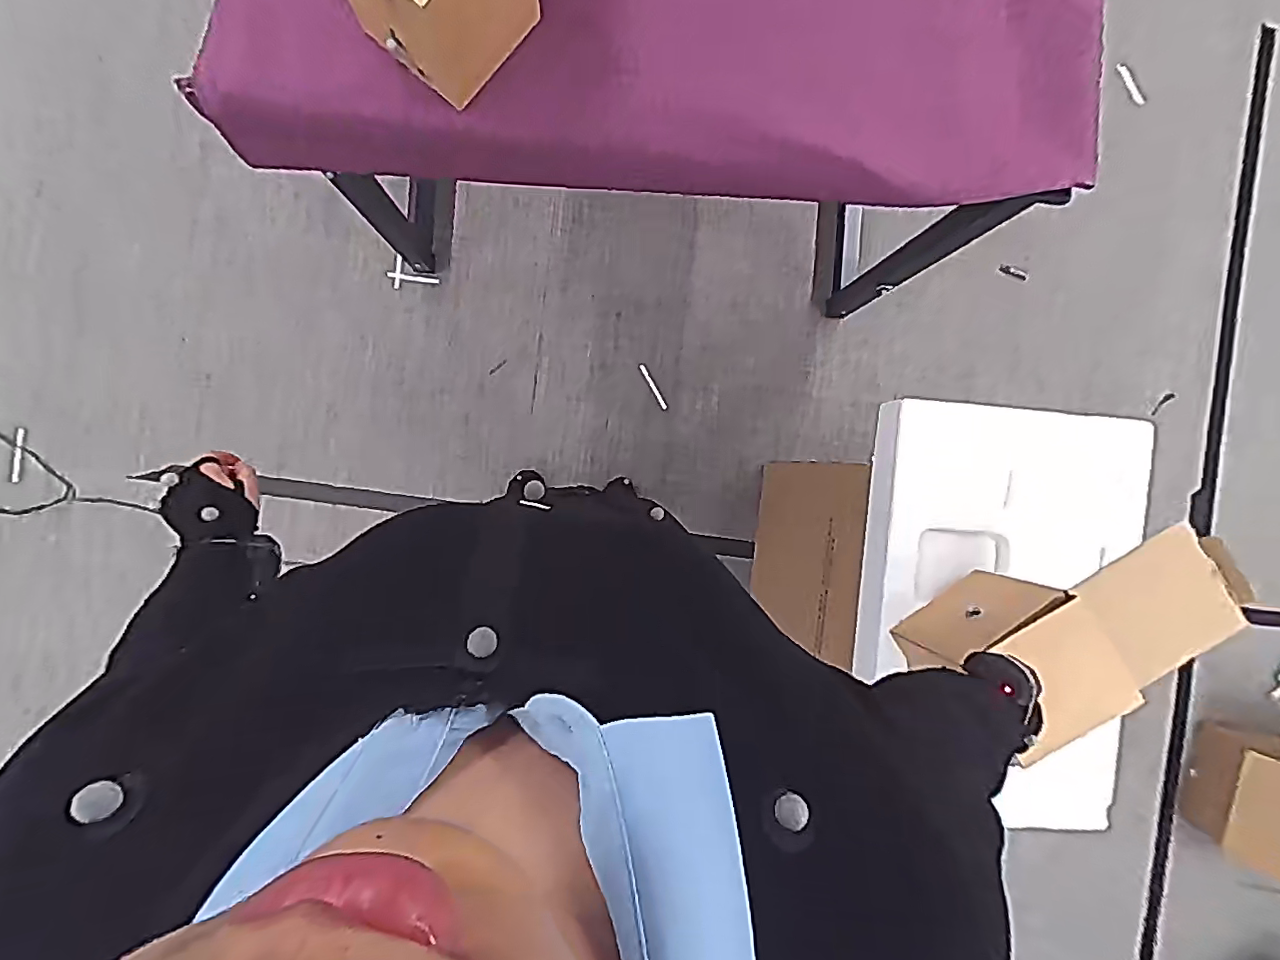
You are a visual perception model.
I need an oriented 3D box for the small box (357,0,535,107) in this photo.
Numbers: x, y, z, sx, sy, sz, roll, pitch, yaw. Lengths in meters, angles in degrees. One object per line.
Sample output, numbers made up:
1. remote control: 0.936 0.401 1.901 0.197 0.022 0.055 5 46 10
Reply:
1. small box: -0.244 -0.619 0.656 0.168 0.176 0.179 39 87 -3
